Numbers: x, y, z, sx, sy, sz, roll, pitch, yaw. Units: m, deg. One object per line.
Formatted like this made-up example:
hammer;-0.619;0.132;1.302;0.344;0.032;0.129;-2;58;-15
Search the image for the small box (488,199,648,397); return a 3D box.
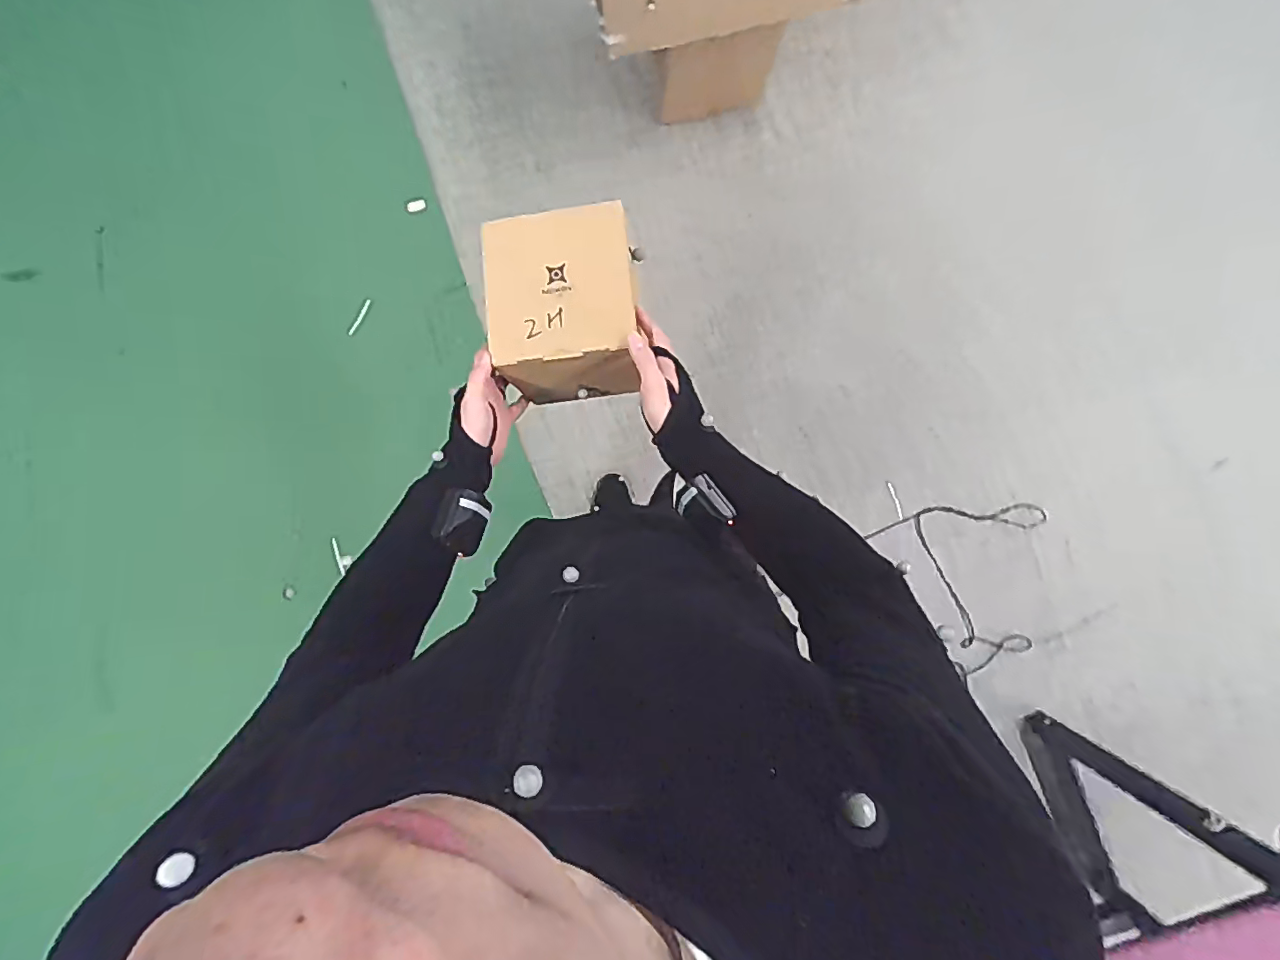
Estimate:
small box;-0.083;-0.218;0.690;0.168;0.176;0.179;-5;82;7
